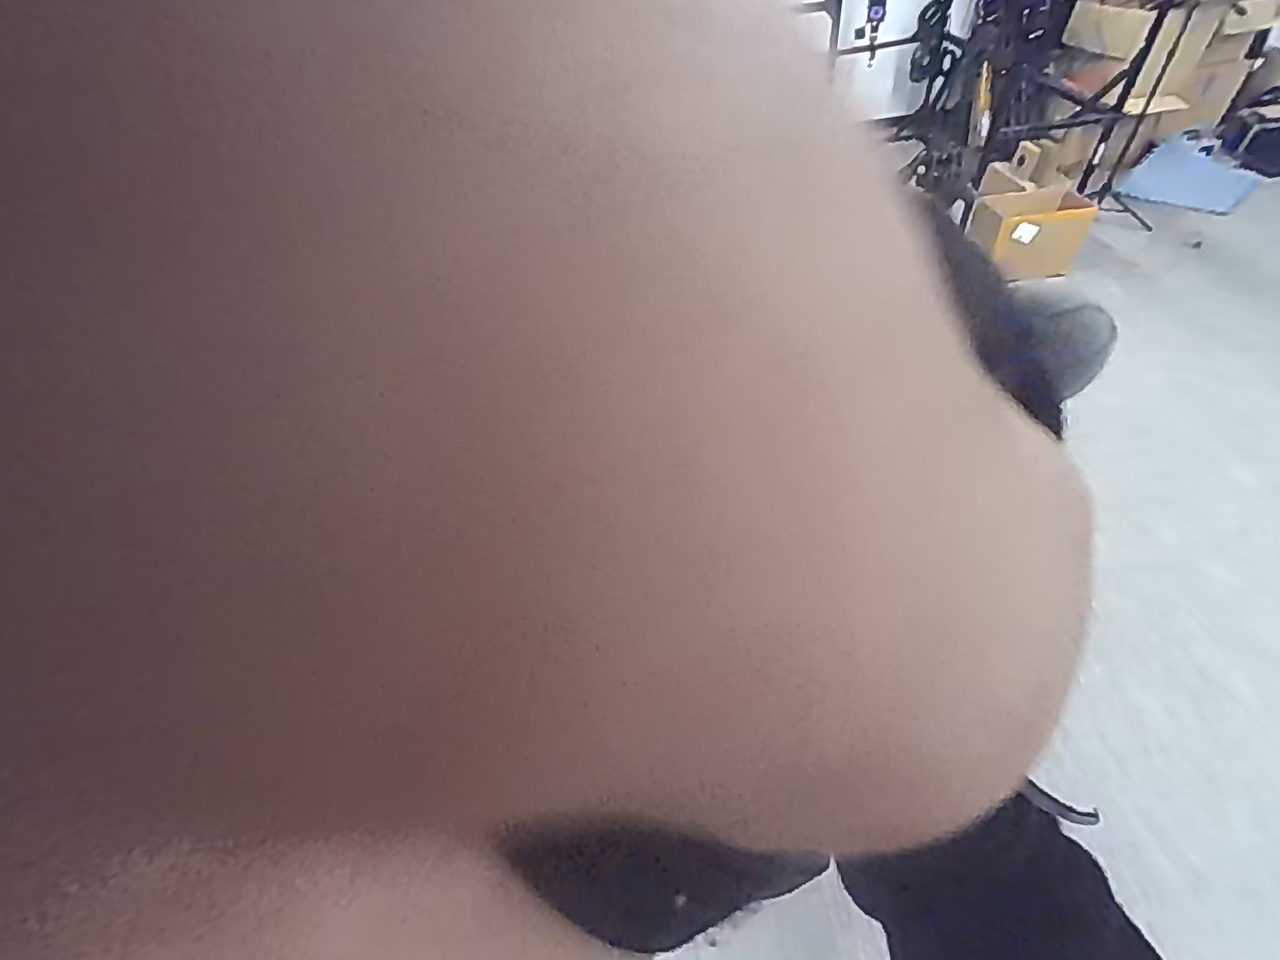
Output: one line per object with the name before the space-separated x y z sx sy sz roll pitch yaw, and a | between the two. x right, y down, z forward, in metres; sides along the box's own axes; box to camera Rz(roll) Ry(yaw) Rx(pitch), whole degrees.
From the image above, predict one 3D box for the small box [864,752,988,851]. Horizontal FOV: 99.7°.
small box | 0.603 0.686 1.165 0.168 0.176 0.179 -5 47 3
